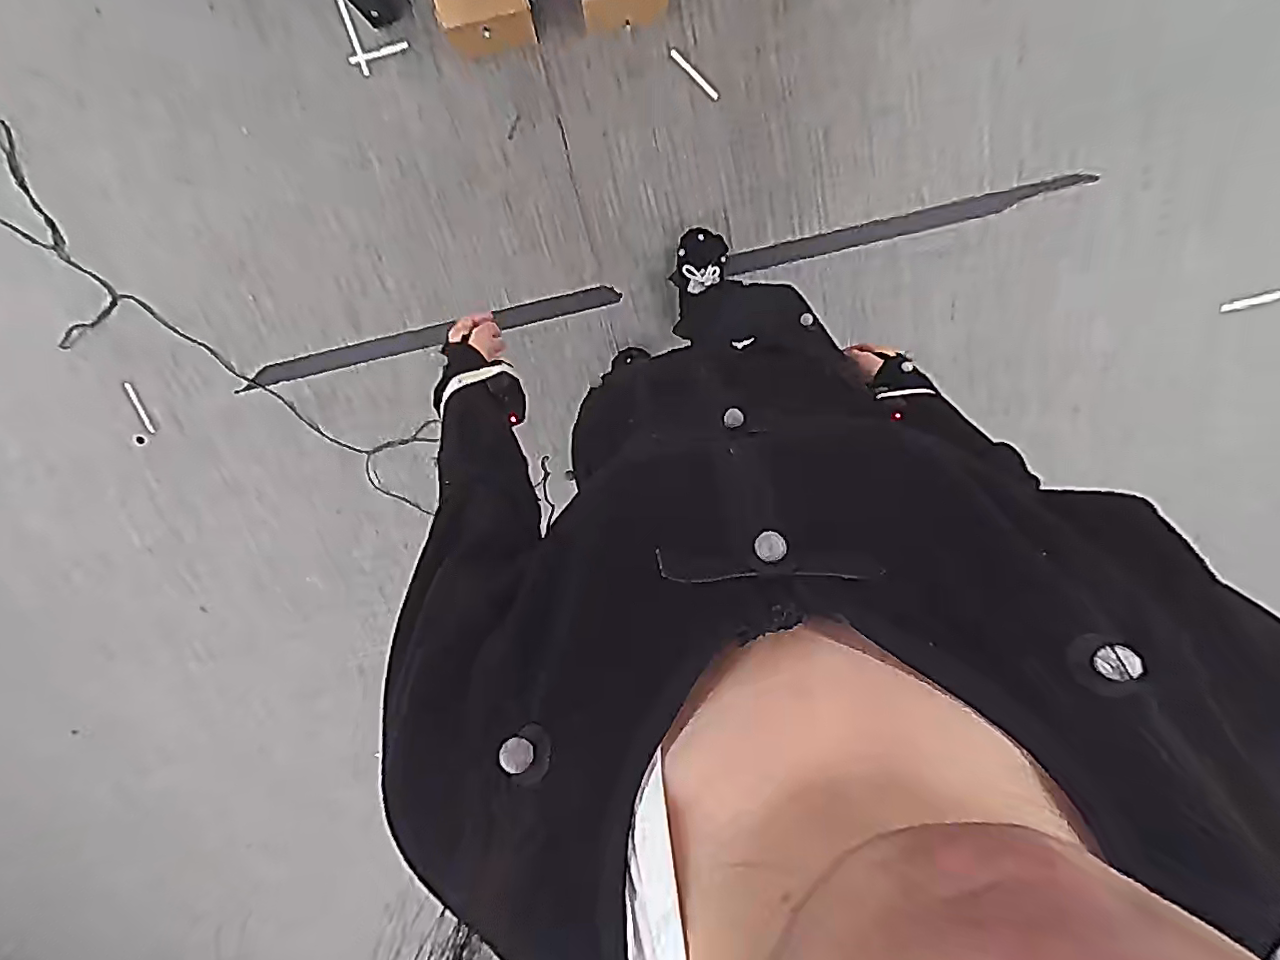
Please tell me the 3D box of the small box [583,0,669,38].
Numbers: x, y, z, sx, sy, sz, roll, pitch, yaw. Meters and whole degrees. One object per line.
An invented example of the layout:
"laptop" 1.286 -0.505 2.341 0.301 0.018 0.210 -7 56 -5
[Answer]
"small box" -0.036 -1.032 1.085 0.179 0.176 0.168 -9 109 2
